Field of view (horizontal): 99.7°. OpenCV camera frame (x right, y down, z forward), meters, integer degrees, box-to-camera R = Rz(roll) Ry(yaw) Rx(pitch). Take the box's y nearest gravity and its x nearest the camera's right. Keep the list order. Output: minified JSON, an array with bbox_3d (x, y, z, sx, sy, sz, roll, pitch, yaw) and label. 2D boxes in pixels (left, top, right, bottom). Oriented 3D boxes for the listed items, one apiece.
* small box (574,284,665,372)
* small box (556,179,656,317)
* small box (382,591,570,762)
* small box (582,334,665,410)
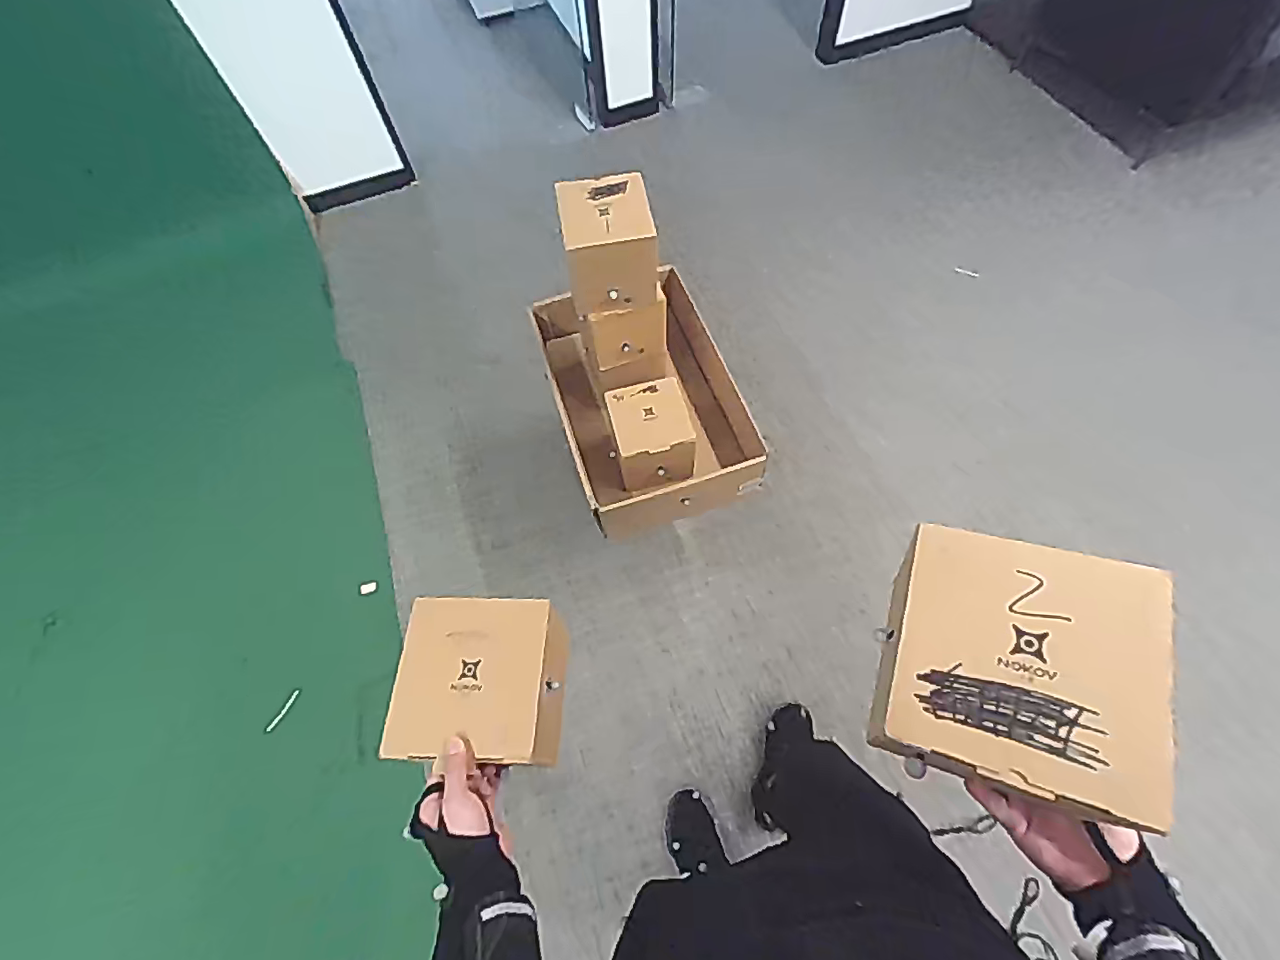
[{"bbox_3d":[-0.050,-0.374,1.204,0.168,0.176,0.179,-19,65,-6],"label":"small box"},{"bbox_3d":[-0.063,-0.449,1.058,0.168,0.176,0.179,-10,65,-2],"label":"small box"},{"bbox_3d":[-0.186,0.251,0.677,0.168,0.176,0.179,1,59,3],"label":"small box"},{"bbox_3d":[-0.043,-0.304,1.350,0.168,0.176,0.179,-18,65,-5],"label":"small box"}]
